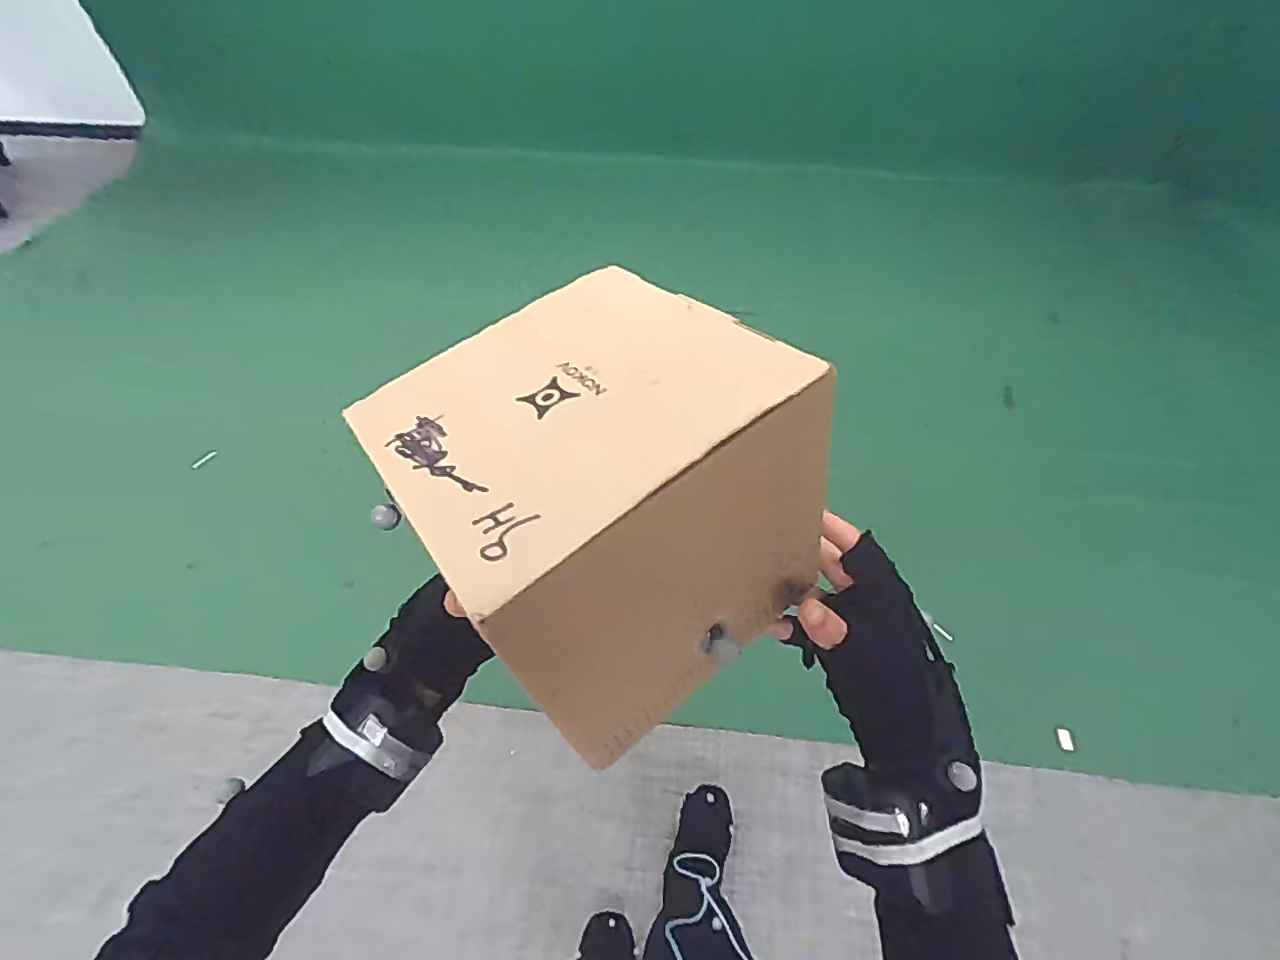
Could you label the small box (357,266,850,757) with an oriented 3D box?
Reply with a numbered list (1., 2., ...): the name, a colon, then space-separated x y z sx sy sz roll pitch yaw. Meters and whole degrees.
1. small box: -0.015 0.012 0.305 0.179 0.176 0.168 -34 49 -19
